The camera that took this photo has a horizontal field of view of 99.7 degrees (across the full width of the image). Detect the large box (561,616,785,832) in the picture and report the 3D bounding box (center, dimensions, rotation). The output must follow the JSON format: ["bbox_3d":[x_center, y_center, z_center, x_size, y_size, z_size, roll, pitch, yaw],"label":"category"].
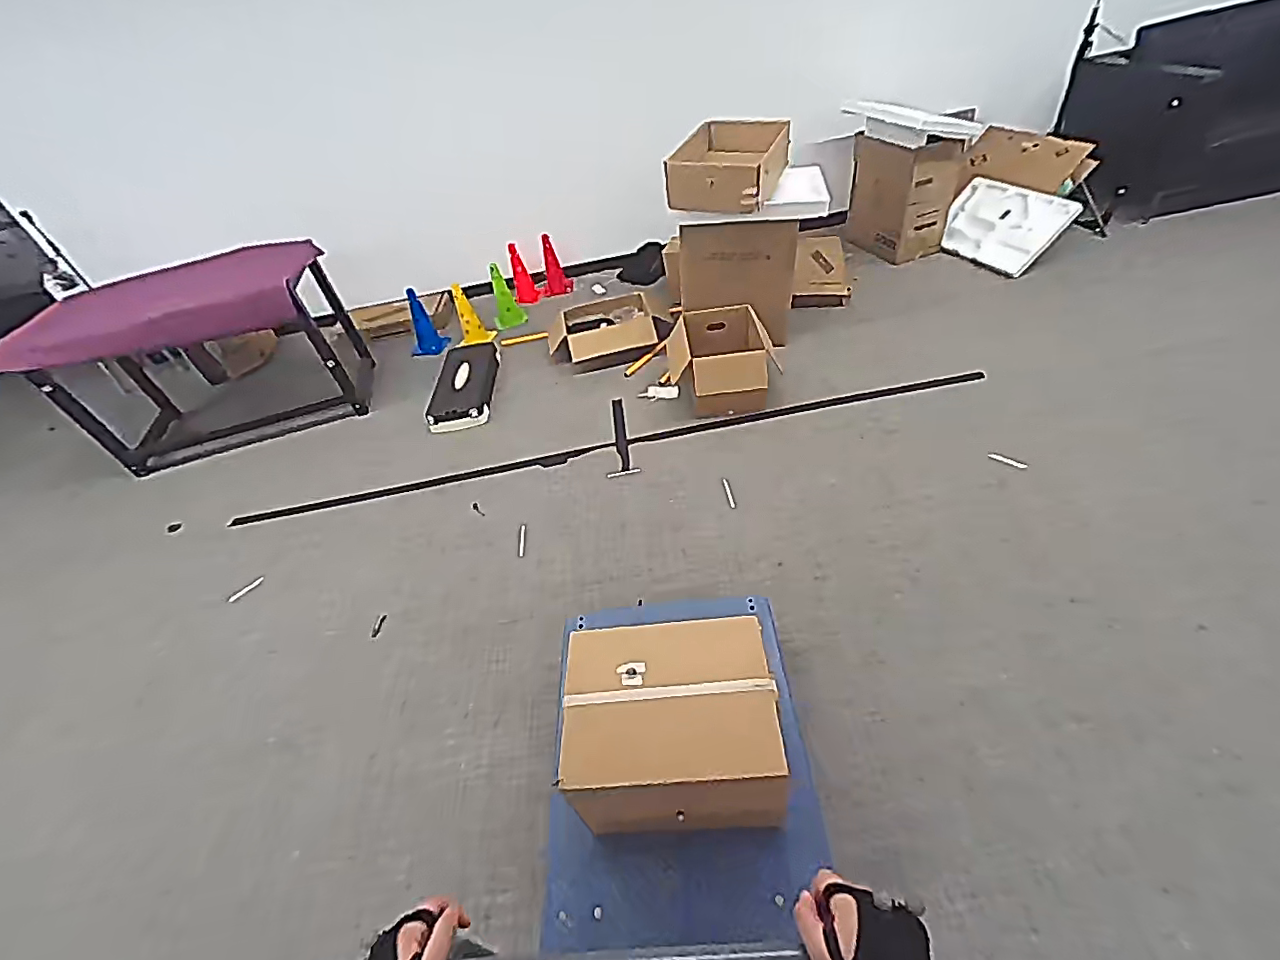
[{"bbox_3d":[0.074,0.527,1.157,0.408,0.320,0.320,-8,42,6],"label":"large box"}]
